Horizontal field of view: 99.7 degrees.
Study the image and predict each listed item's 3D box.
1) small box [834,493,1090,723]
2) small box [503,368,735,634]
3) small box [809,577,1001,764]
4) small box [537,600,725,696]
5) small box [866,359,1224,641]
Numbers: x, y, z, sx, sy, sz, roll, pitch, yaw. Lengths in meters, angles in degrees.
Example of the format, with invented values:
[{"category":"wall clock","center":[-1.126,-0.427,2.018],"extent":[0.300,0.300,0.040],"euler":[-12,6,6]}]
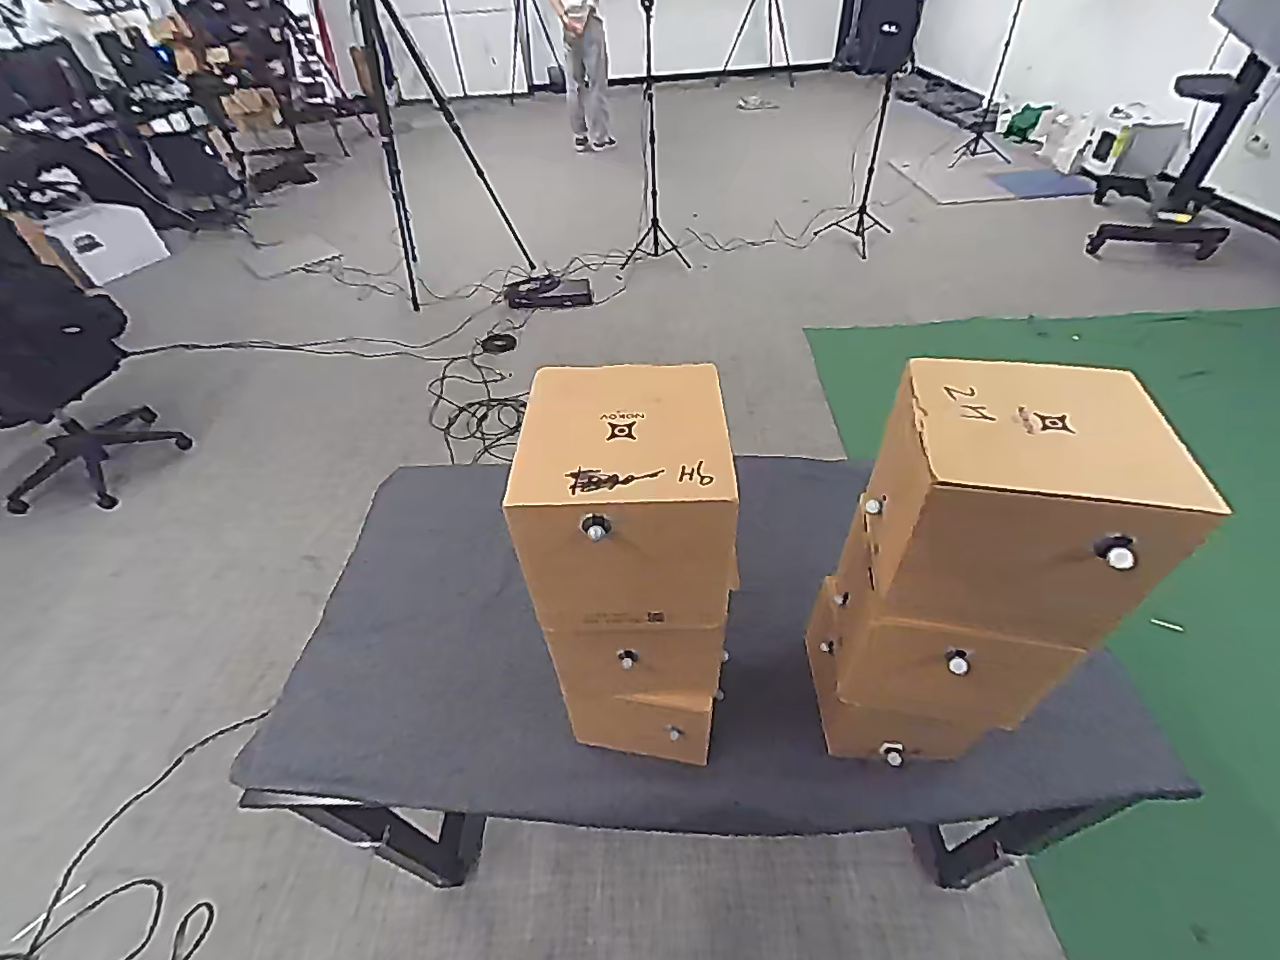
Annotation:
[{"category":"small box","center":[0.314,0.137,0.575],"extent":[0.179,0.176,0.168],"euler":[5,44,12]},{"category":"small box","center":[-0.010,0.017,0.488],"extent":[0.168,0.176,0.179],"euler":[-2,43,3]},{"category":"small box","center":[0.325,0.243,0.698],"extent":[0.168,0.176,0.179],"euler":[-2,44,4]},{"category":"small box","center":[-0.003,0.129,0.608],"extent":[0.179,0.176,0.168],"euler":[-2,44,4]},{"category":"small box","center":[0.306,0.016,0.463],"extent":[0.179,0.176,0.168],"euler":[6,44,13]}]
